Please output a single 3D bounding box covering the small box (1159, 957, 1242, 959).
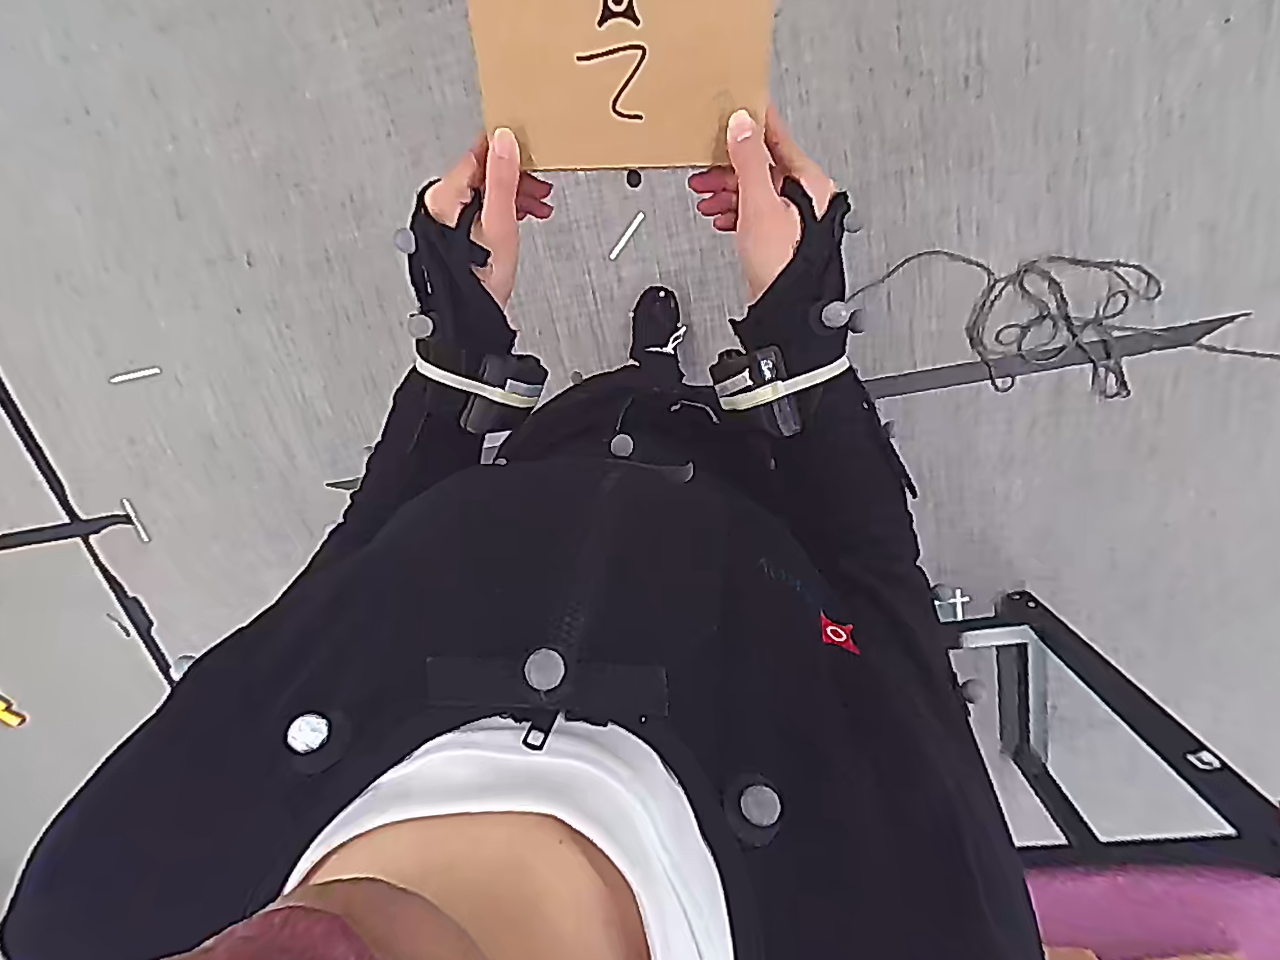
[{"bbox_3d":[0.814,0.792,0.733,0.168,0.176,0.179,-18,105,11],"label":"small box"}]
